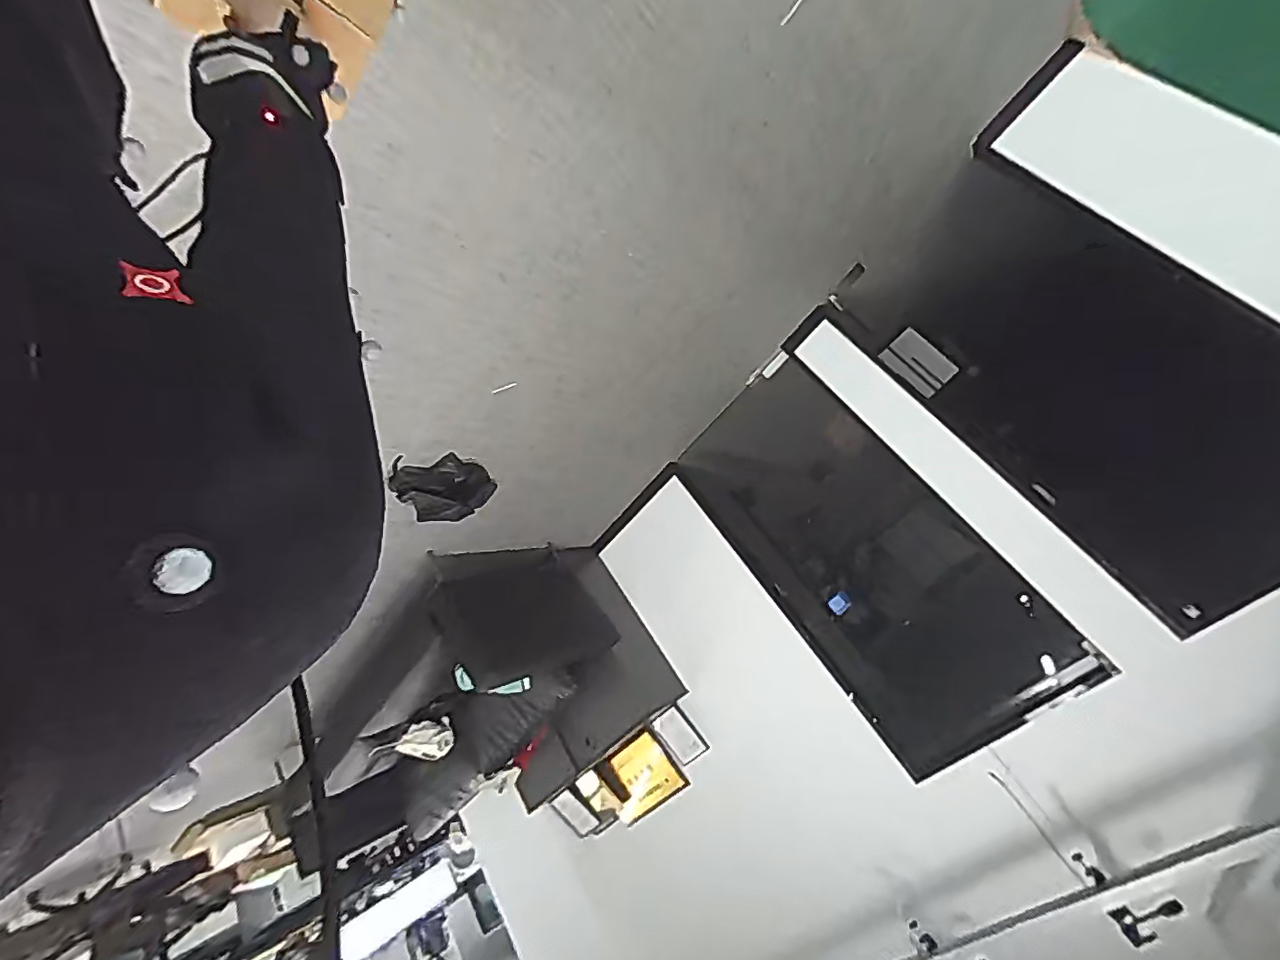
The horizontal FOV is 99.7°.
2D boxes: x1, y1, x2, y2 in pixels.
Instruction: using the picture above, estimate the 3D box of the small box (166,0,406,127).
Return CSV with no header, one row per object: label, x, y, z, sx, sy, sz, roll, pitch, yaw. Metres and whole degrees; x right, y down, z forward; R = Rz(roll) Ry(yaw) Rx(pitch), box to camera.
small box,-0.340,-0.510,0.537,0.168,0.176,0.179,23,75,-41
